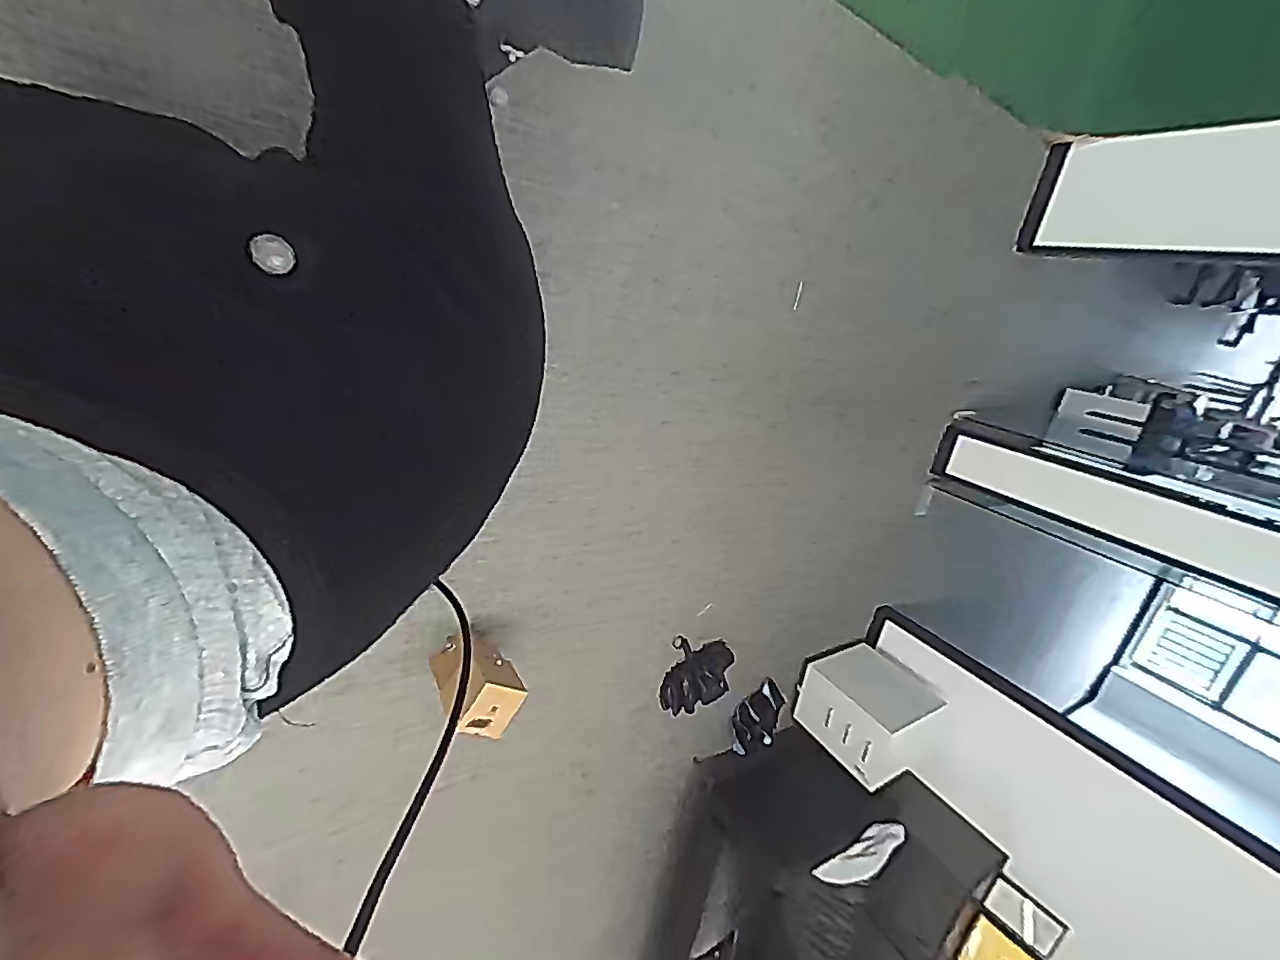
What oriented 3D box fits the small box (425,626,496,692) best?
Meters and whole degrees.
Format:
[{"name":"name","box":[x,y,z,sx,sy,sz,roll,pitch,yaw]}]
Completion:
[{"name":"small box","box":[-0.592,0.625,1.830,0.168,0.176,0.179,-46,129,-9]}]

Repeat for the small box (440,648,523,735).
[{"name":"small box","box":[-0.503,0.660,1.693,0.168,0.176,0.179,35,88,-41]}]
